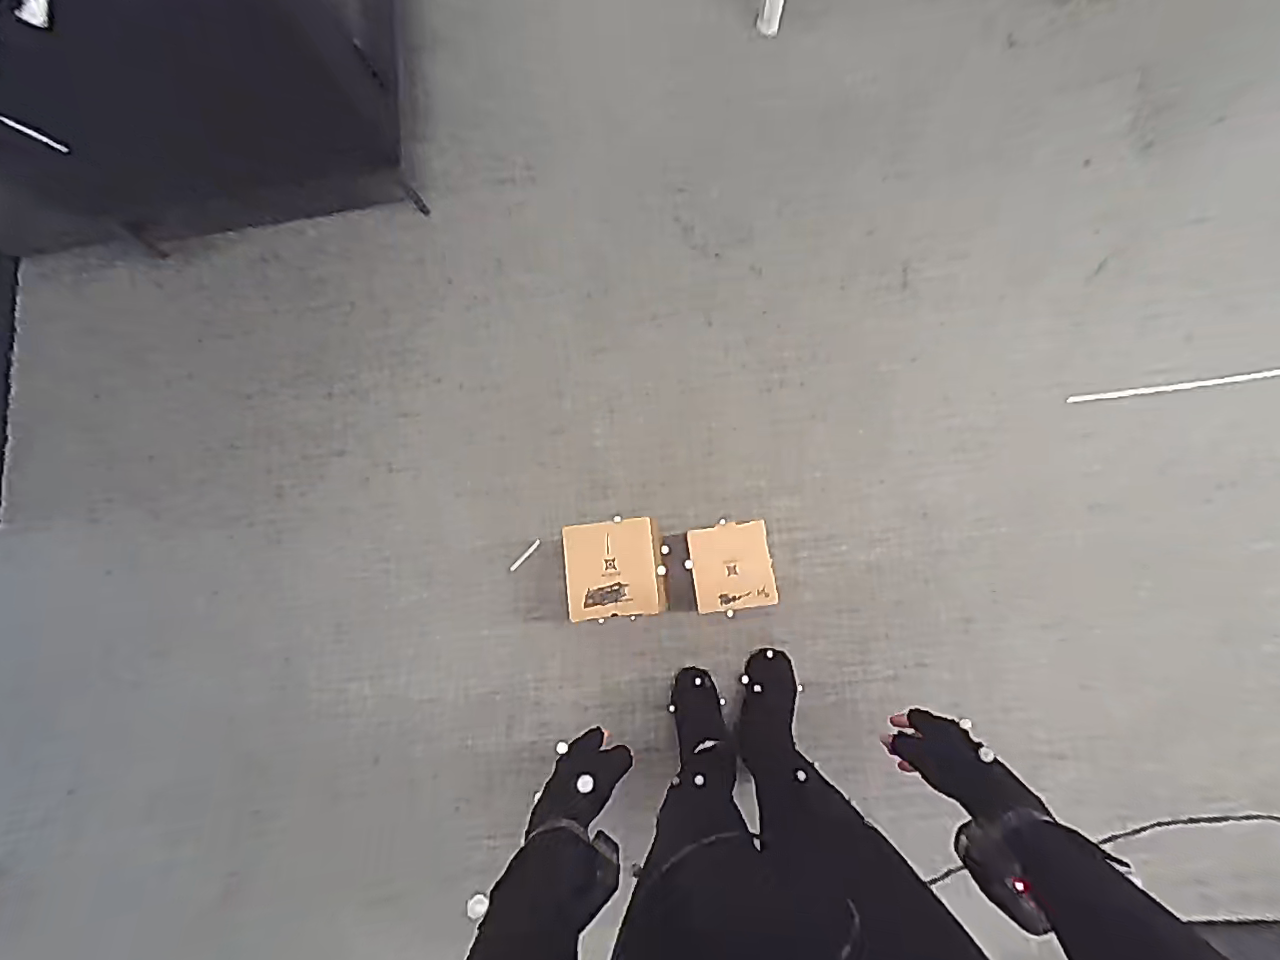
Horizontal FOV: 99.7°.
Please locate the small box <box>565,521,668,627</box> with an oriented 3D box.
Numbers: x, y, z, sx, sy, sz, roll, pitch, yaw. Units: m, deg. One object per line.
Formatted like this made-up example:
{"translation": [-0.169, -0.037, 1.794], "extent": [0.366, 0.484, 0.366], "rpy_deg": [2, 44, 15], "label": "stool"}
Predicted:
{"translation": [-0.039, 0.181, 1.051], "extent": [0.168, 0.176, 0.179], "rpy_deg": [-7, 79, 5], "label": "small box"}
